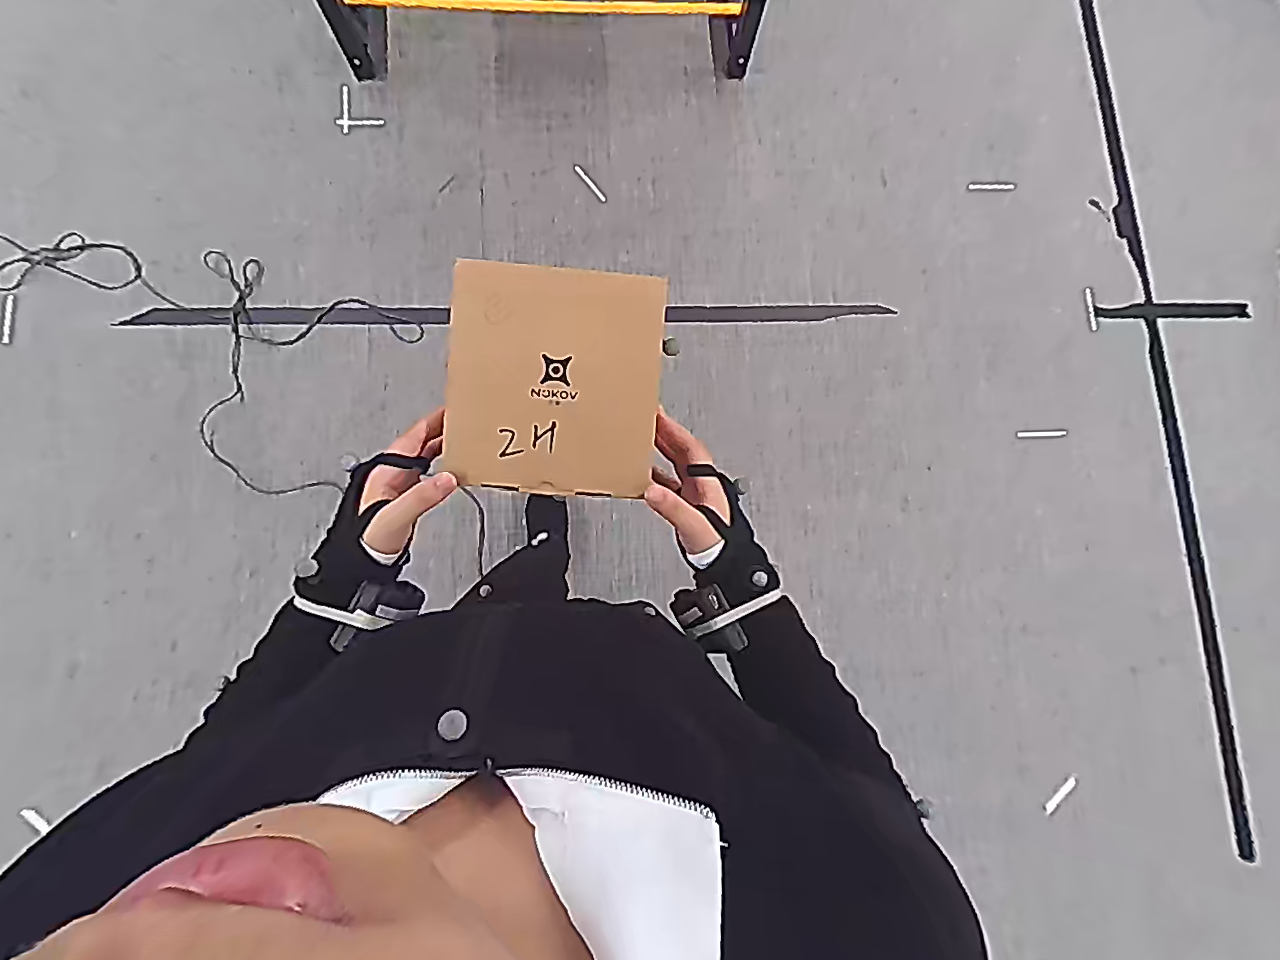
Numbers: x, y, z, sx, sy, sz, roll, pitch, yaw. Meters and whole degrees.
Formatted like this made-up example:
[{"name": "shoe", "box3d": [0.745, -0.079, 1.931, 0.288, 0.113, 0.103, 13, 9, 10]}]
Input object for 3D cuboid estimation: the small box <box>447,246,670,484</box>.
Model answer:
[{"name": "small box", "box3d": [-0.067, -0.092, 0.505, 0.168, 0.176, 0.179, 4, 93, -2]}]
